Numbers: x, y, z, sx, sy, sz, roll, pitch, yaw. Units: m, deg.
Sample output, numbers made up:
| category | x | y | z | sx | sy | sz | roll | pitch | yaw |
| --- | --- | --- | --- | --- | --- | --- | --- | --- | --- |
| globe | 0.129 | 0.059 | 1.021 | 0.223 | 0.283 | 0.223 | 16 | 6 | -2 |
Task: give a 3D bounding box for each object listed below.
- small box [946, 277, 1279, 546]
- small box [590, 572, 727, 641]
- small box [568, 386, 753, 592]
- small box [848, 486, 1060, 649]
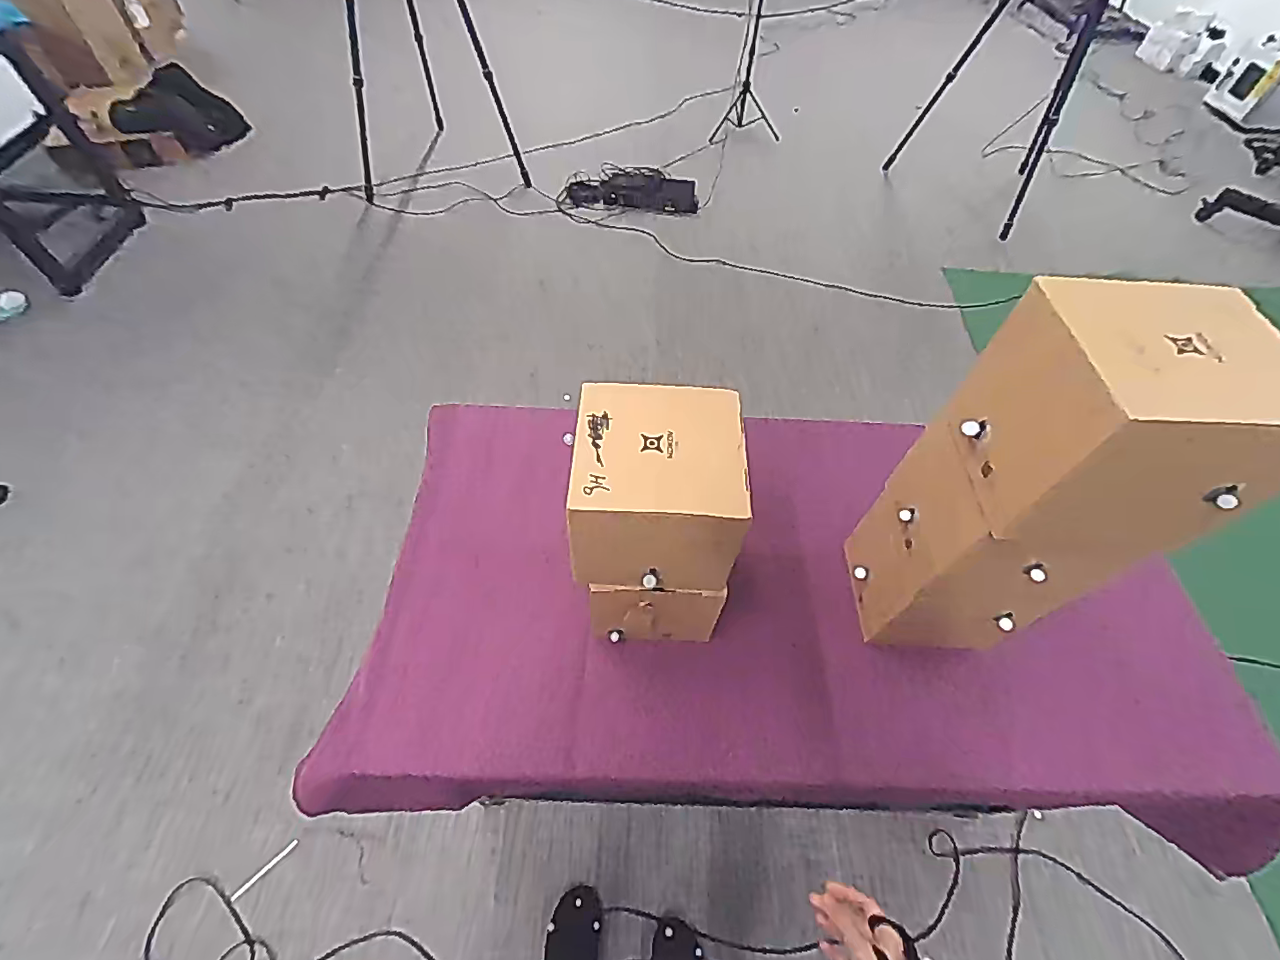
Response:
| category | x | y | z | sx | sy | sz | roll | pitch | yaw |
| --- | --- | --- | --- | --- | --- | --- | --- | --- | --- |
| small box | 0.414 | -0.052 | 0.478 | 0.179 | 0.176 | 0.168 | 3 | 54 | 0 |
| small box | 0.023 | 0.111 | 0.747 | 0.168 | 0.176 | 0.179 | 3 | 54 | -1 |
| small box | 0.019 | 0.017 | 0.611 | 0.179 | 0.176 | 0.168 | 4 | 54 | -1 |
| small box | 0.416 | 0.128 | 0.752 | 0.179 | 0.176 | 0.168 | 3 | 54 | 0 |
